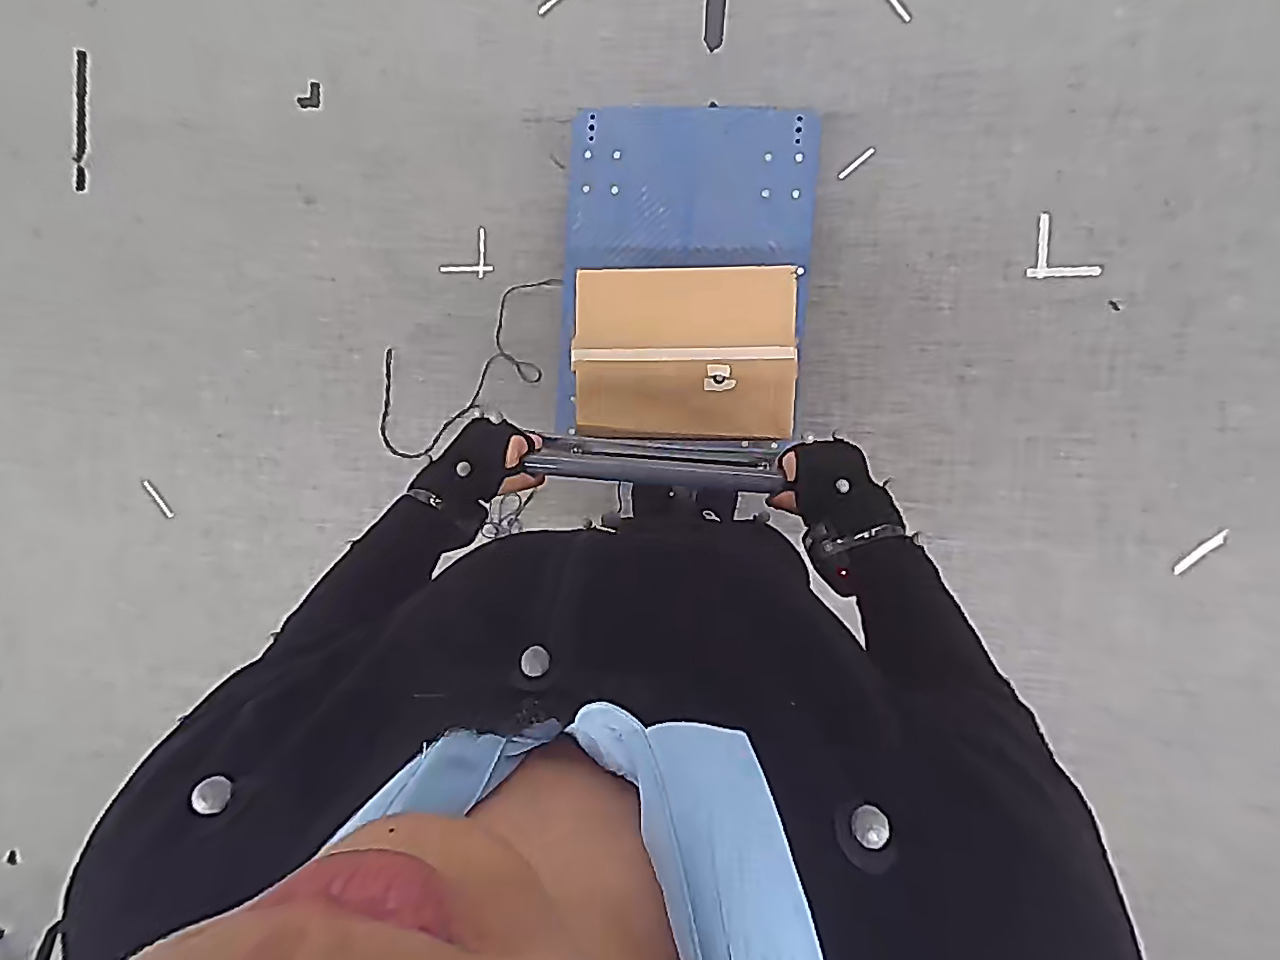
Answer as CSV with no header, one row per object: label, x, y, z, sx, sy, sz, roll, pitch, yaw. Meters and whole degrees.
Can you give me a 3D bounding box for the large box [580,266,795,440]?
large box,0.096,-0.246,1.158,0.408,0.320,0.320,1,94,5
